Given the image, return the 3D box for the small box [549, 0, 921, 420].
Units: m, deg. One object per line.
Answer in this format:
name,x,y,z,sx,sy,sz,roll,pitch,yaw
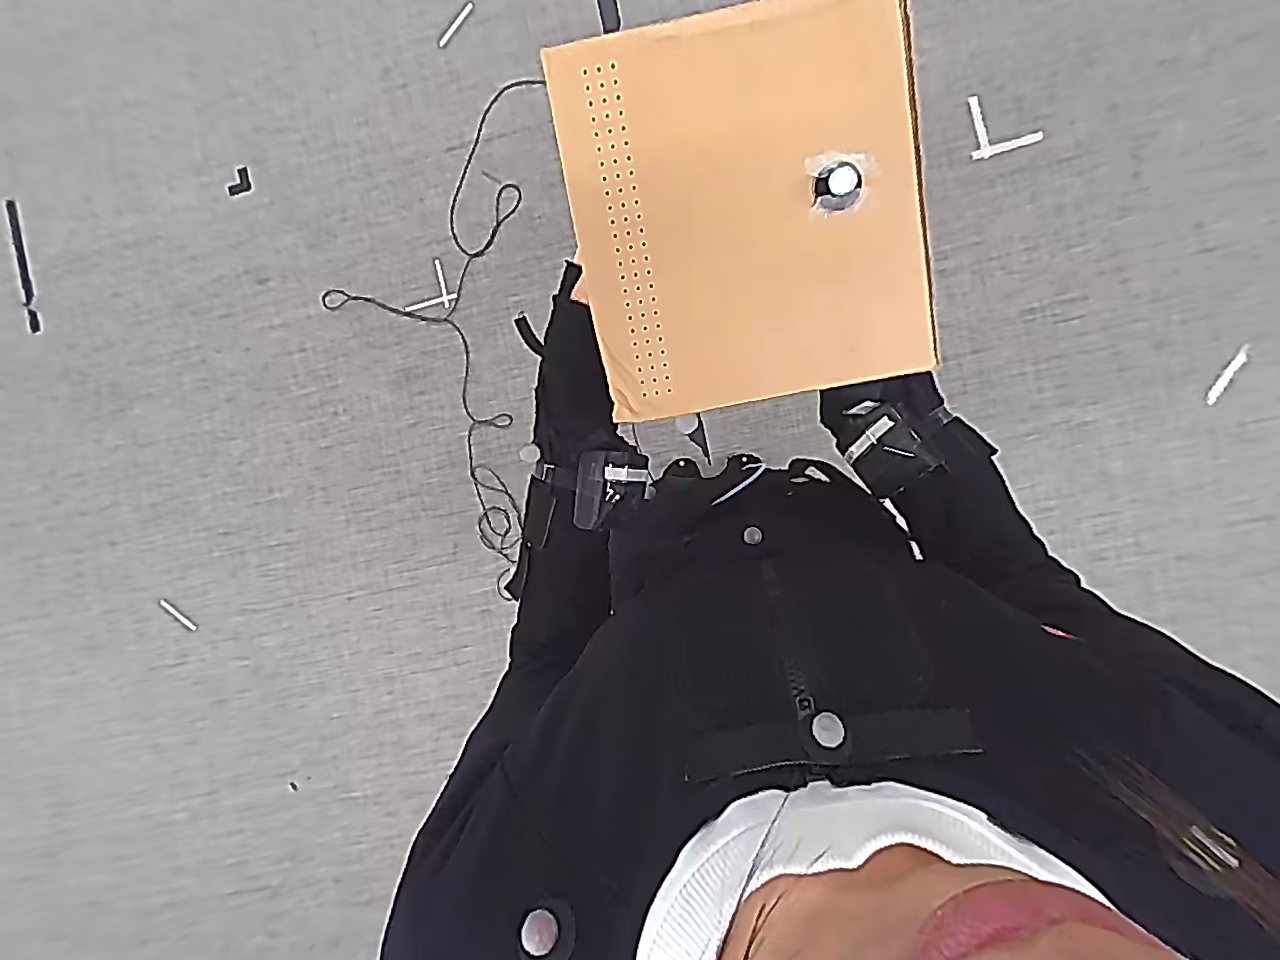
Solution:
small box,0.049,-0.145,0.345,0.176,0.168,0.179,-10,101,4
